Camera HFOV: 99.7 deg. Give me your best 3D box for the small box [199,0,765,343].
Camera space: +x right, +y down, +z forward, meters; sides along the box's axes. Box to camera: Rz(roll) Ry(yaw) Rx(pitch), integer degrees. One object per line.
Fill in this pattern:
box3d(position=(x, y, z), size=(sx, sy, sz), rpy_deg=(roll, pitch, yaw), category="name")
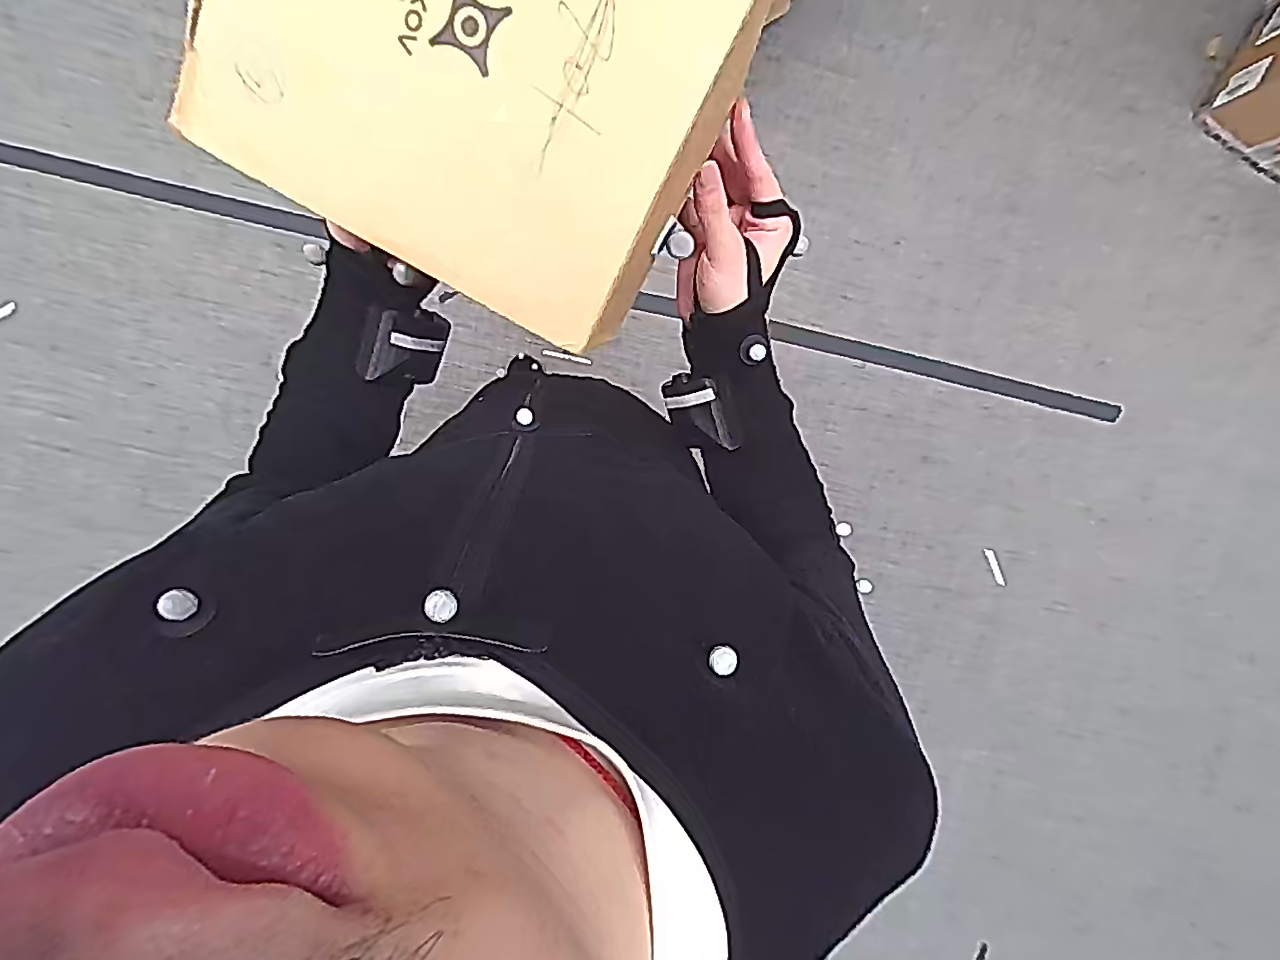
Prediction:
box3d(position=(-0.059, -0.185, 0.277), size=(0.179, 0.176, 0.168), rpy_deg=(27, 107, -5), category="small box")
